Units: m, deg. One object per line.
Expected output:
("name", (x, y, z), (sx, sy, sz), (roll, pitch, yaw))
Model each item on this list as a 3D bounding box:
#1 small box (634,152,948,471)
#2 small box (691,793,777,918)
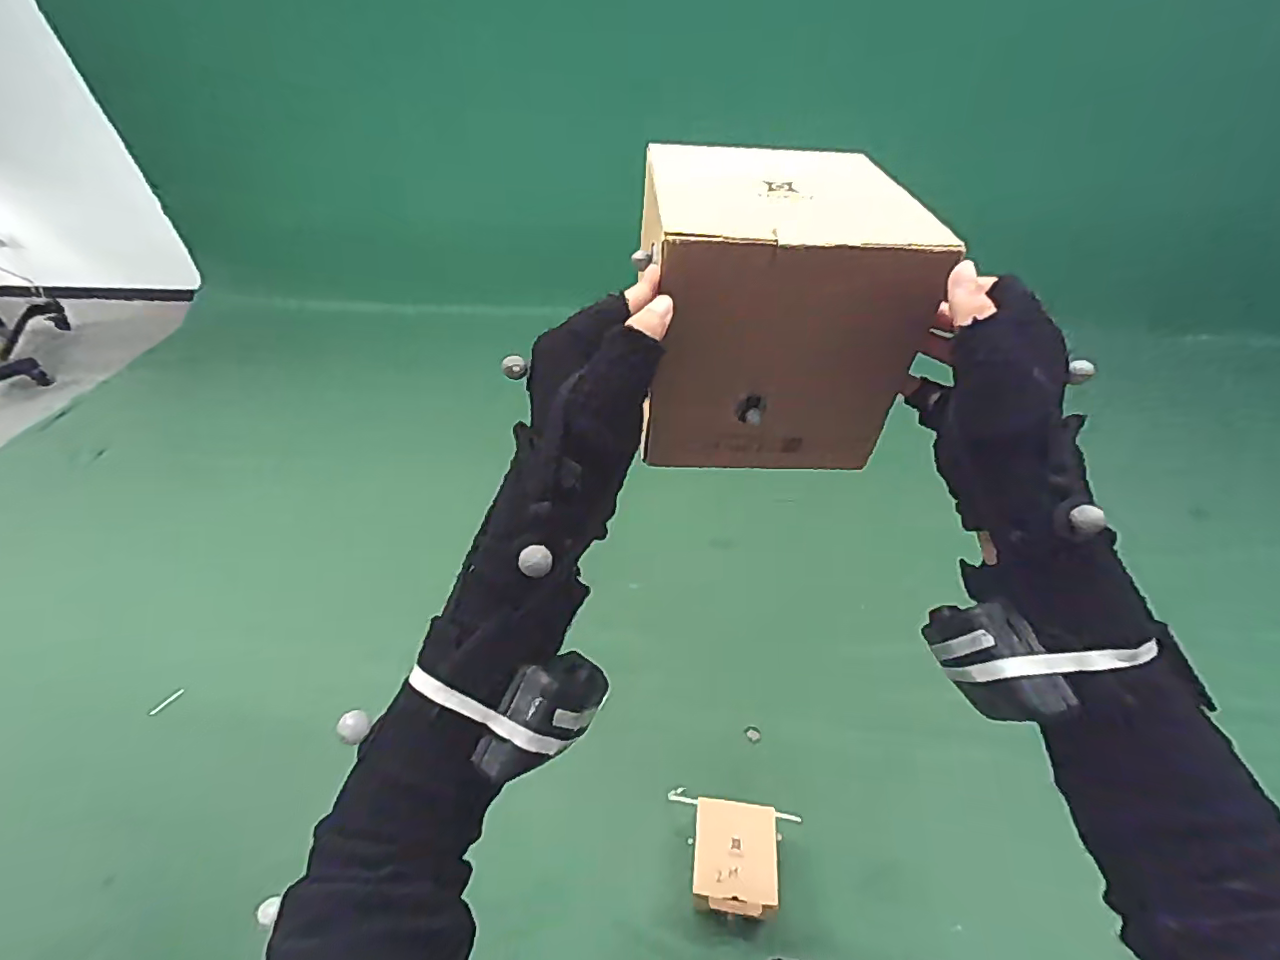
("small box", (0.083, -0.127, 0.410), (0.168, 0.176, 0.179), (0, 45, -4))
("small box", (0.199, 0.809, 1.165), (0.168, 0.176, 0.179), (4, 44, 8))
